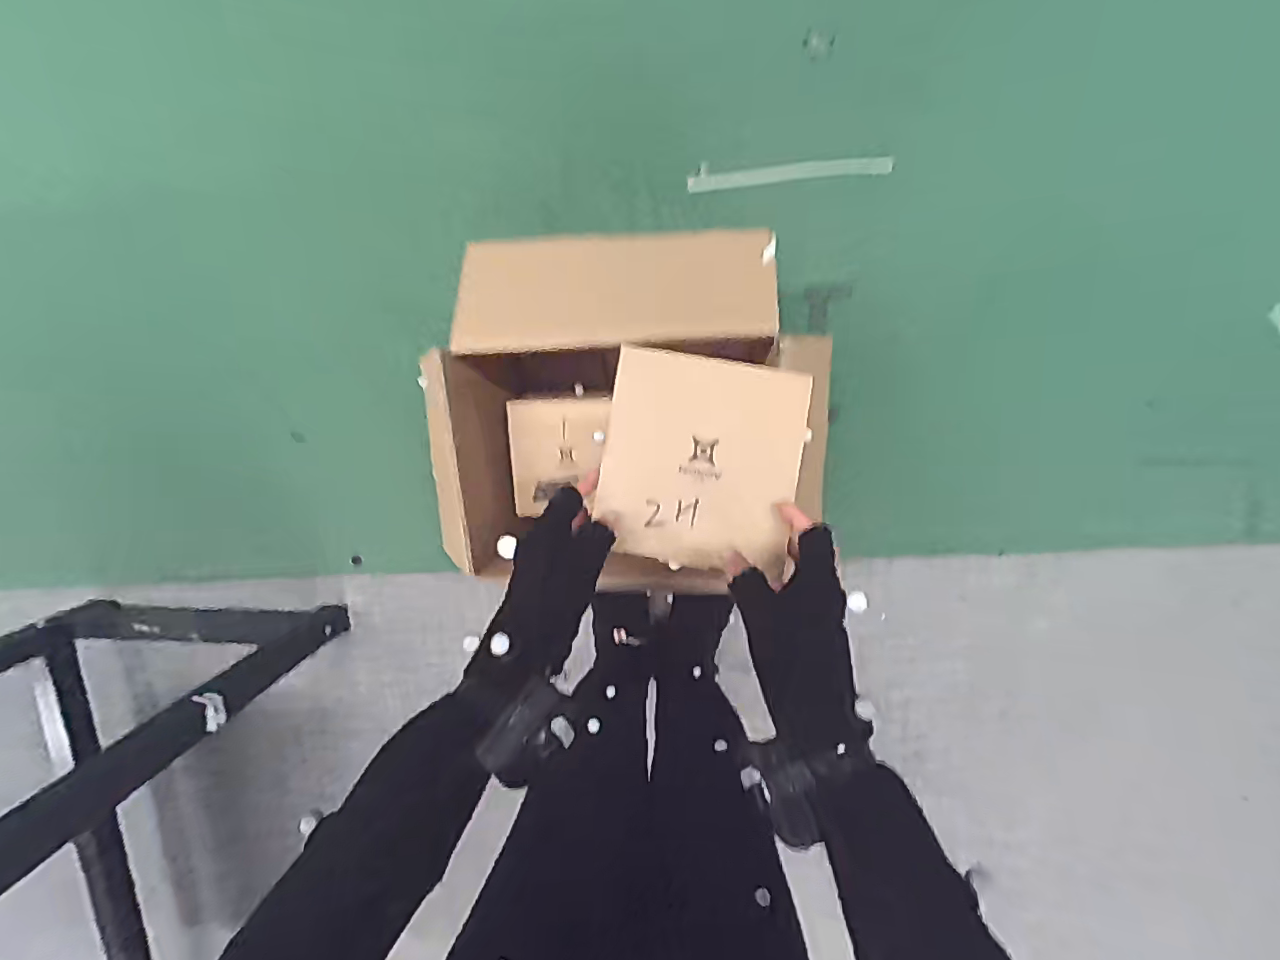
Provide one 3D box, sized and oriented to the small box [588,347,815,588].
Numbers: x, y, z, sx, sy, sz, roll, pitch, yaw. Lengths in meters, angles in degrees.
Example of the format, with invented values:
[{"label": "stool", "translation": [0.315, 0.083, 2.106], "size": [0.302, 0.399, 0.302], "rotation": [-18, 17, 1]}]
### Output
[{"label": "small box", "translation": [0.051, -0.008, 0.523], "size": [0.168, 0.176, 0.179], "rotation": [10, 88, 1]}]
